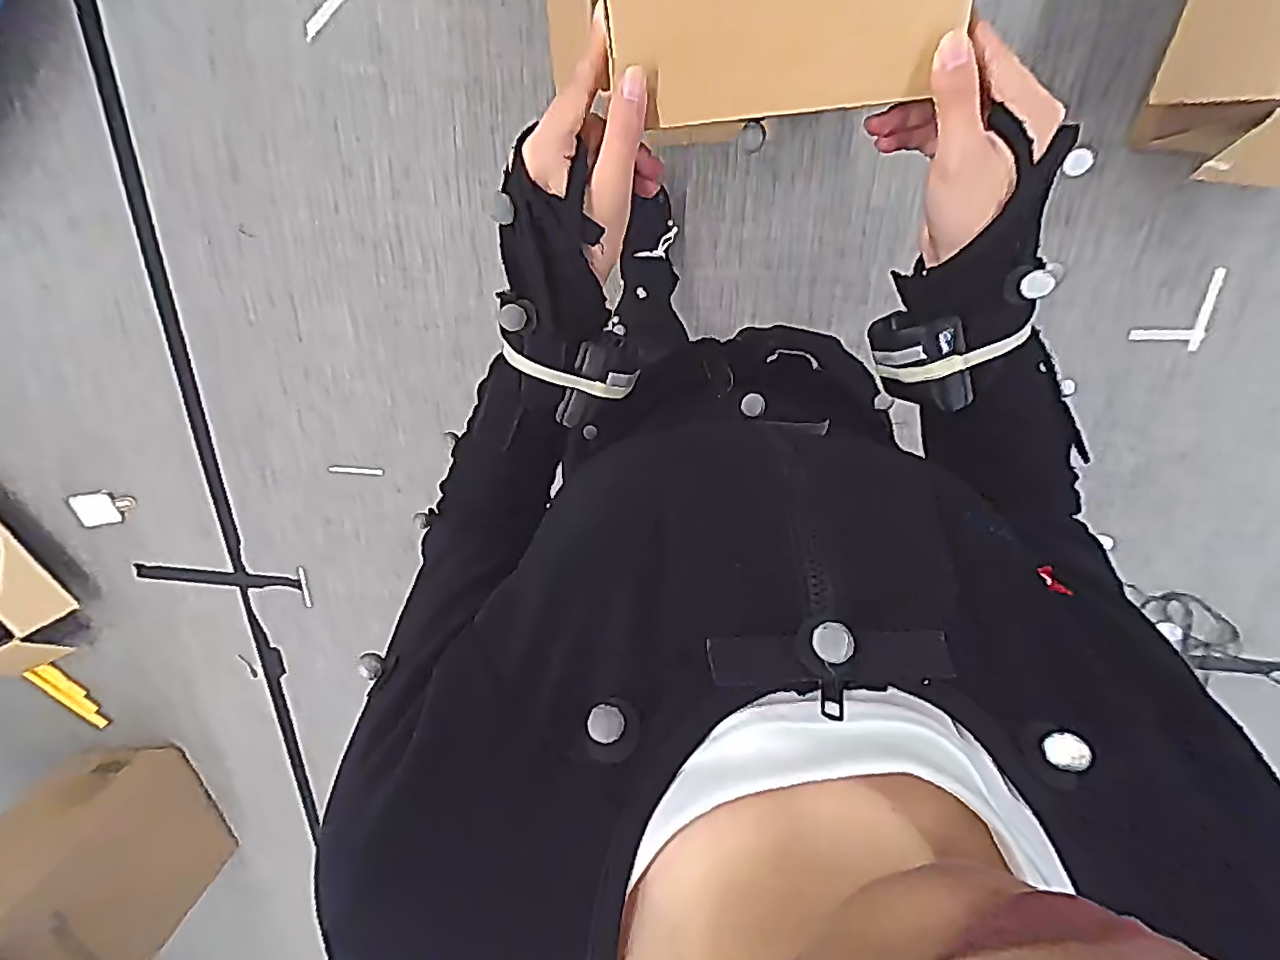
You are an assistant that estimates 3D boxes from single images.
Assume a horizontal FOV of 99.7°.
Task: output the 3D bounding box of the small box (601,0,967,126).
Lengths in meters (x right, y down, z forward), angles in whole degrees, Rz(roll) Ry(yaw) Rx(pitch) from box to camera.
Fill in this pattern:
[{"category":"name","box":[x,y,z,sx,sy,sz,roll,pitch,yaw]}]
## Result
[{"category":"small box","box":[0.064,-0.304,0.298,0.179,0.176,0.168,-4,124,3]}]
